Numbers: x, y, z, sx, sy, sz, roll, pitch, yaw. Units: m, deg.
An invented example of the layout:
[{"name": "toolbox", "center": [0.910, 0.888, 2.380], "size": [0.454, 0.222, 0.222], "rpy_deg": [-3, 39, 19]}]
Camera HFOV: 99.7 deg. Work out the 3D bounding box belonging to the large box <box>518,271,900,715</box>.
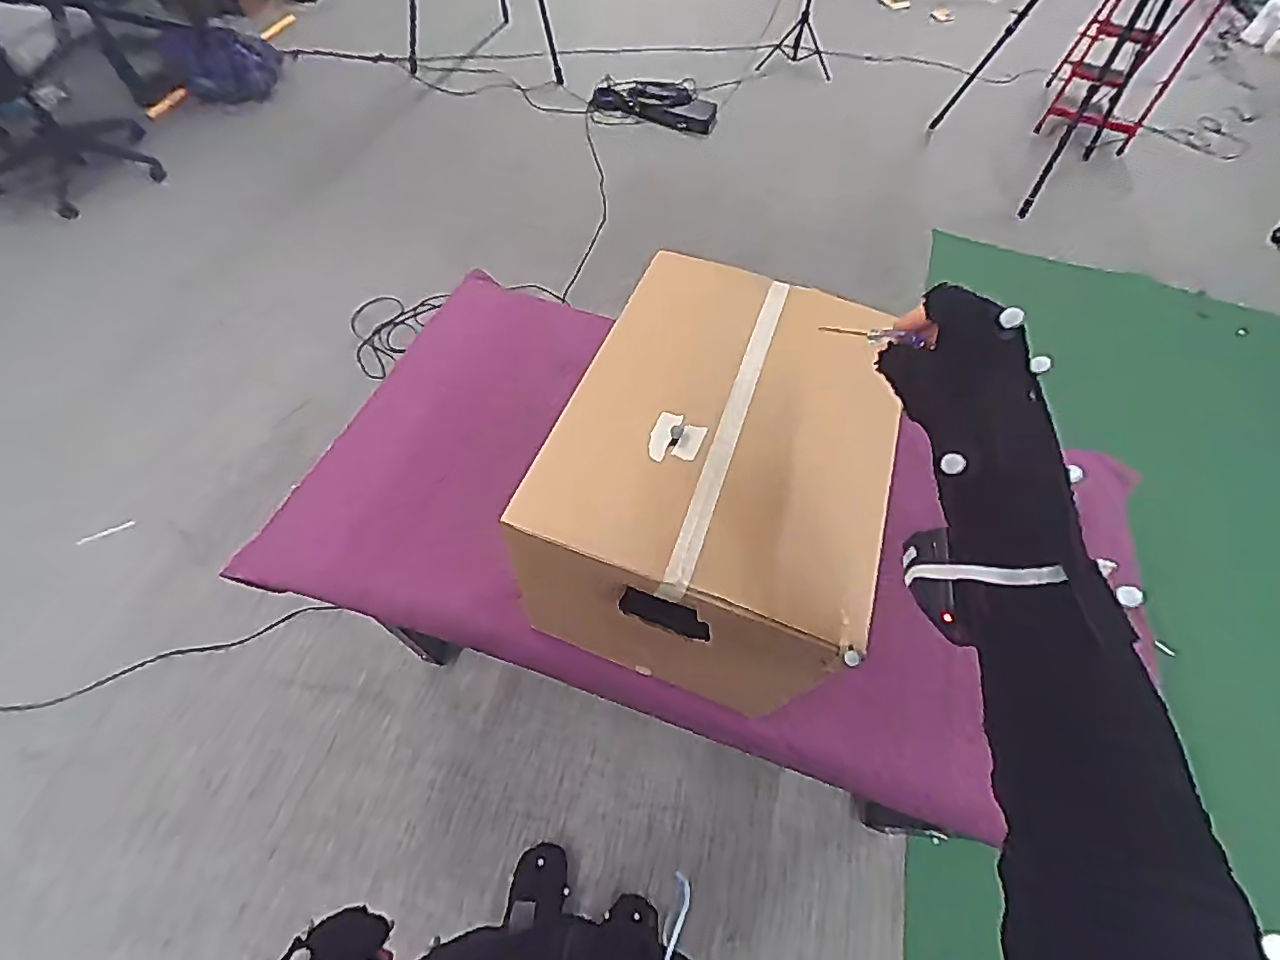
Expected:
[{"name": "large box", "center": [0.087, 0.021, 0.683], "size": [0.320, 0.320, 0.408], "rpy_deg": [20, 59, 8]}]
